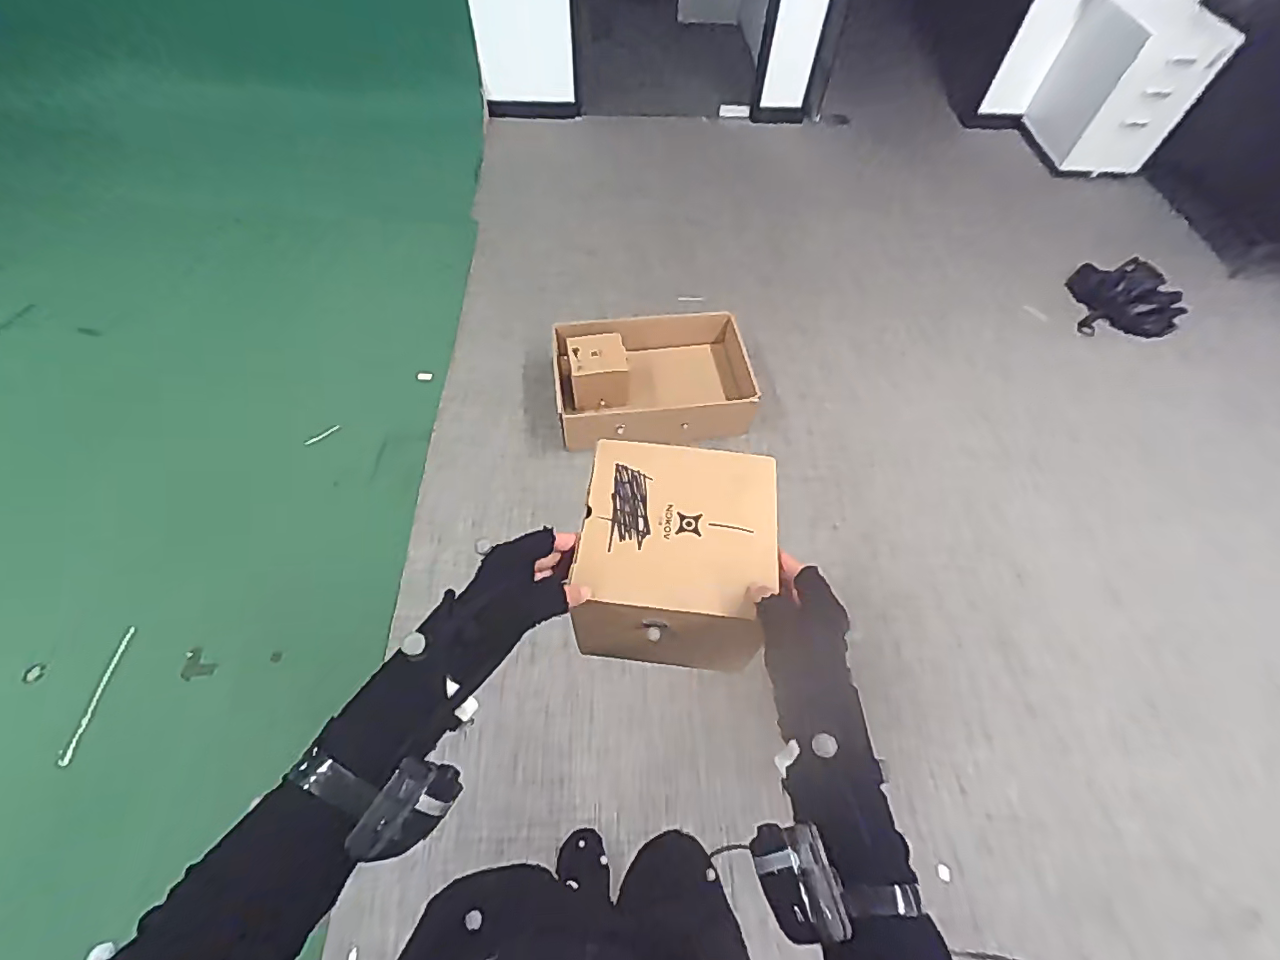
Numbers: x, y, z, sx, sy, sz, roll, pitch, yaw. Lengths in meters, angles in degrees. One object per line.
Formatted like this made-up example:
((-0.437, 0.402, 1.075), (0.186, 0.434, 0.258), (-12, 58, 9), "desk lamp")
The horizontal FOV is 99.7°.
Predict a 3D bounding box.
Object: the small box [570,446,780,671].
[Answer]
((0.035, 0.086, 0.550), (0.179, 0.176, 0.168), (6, 57, 2), "small box")

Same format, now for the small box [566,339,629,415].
((-0.140, -0.329, 1.743), (0.179, 0.176, 0.168), (-7, 57, -9), "small box")
